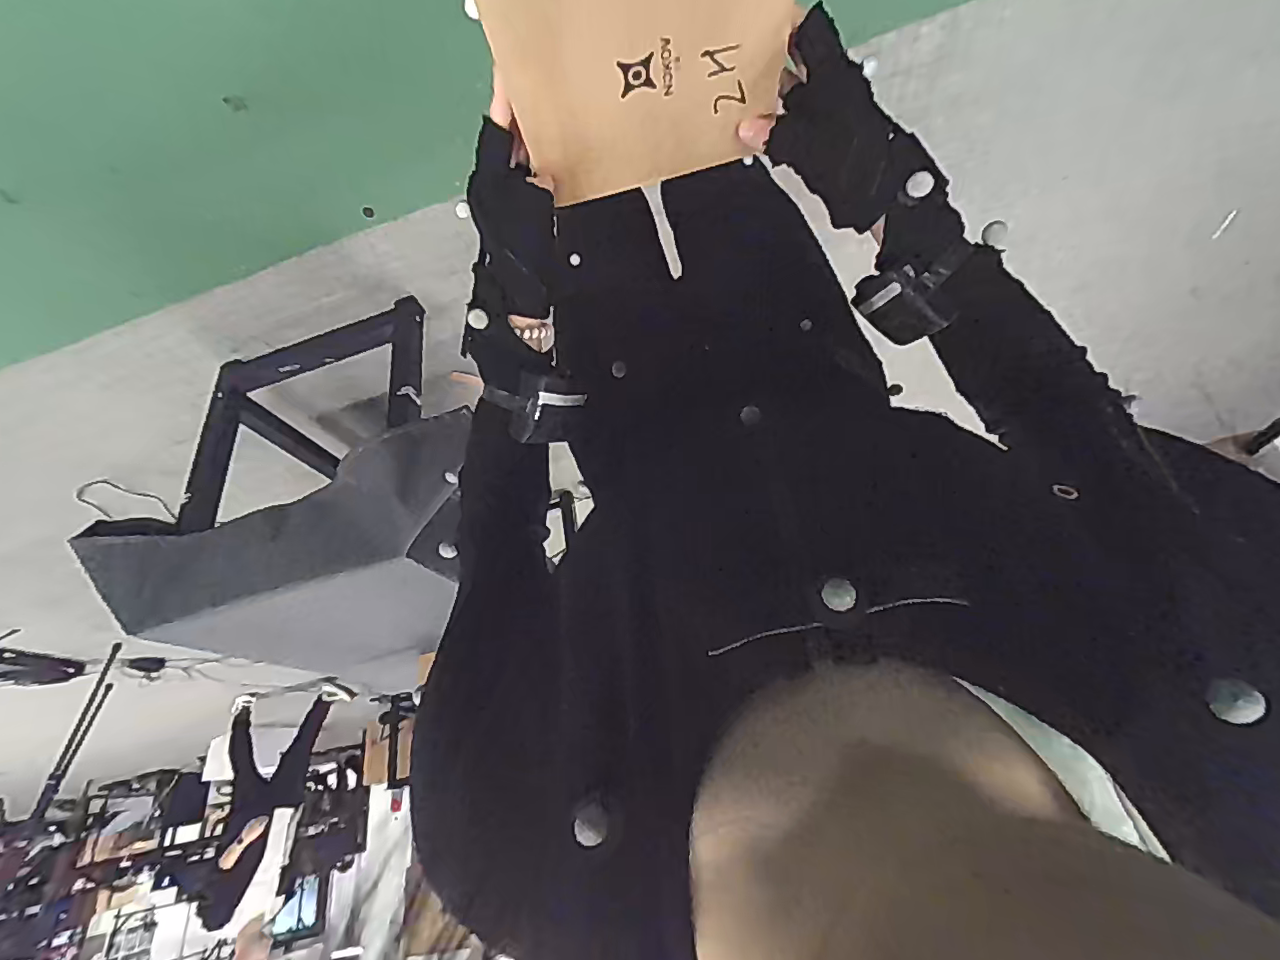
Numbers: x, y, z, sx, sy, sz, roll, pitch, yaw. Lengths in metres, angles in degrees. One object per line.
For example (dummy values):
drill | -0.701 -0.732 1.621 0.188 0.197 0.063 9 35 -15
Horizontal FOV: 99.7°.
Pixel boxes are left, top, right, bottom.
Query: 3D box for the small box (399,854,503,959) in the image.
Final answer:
small box | -0.441 0.994 1.267 0.179 0.176 0.168 -16 149 8

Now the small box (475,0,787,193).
small box | -0.014 -0.332 0.349 0.179 0.176 0.168 -14 165 2
